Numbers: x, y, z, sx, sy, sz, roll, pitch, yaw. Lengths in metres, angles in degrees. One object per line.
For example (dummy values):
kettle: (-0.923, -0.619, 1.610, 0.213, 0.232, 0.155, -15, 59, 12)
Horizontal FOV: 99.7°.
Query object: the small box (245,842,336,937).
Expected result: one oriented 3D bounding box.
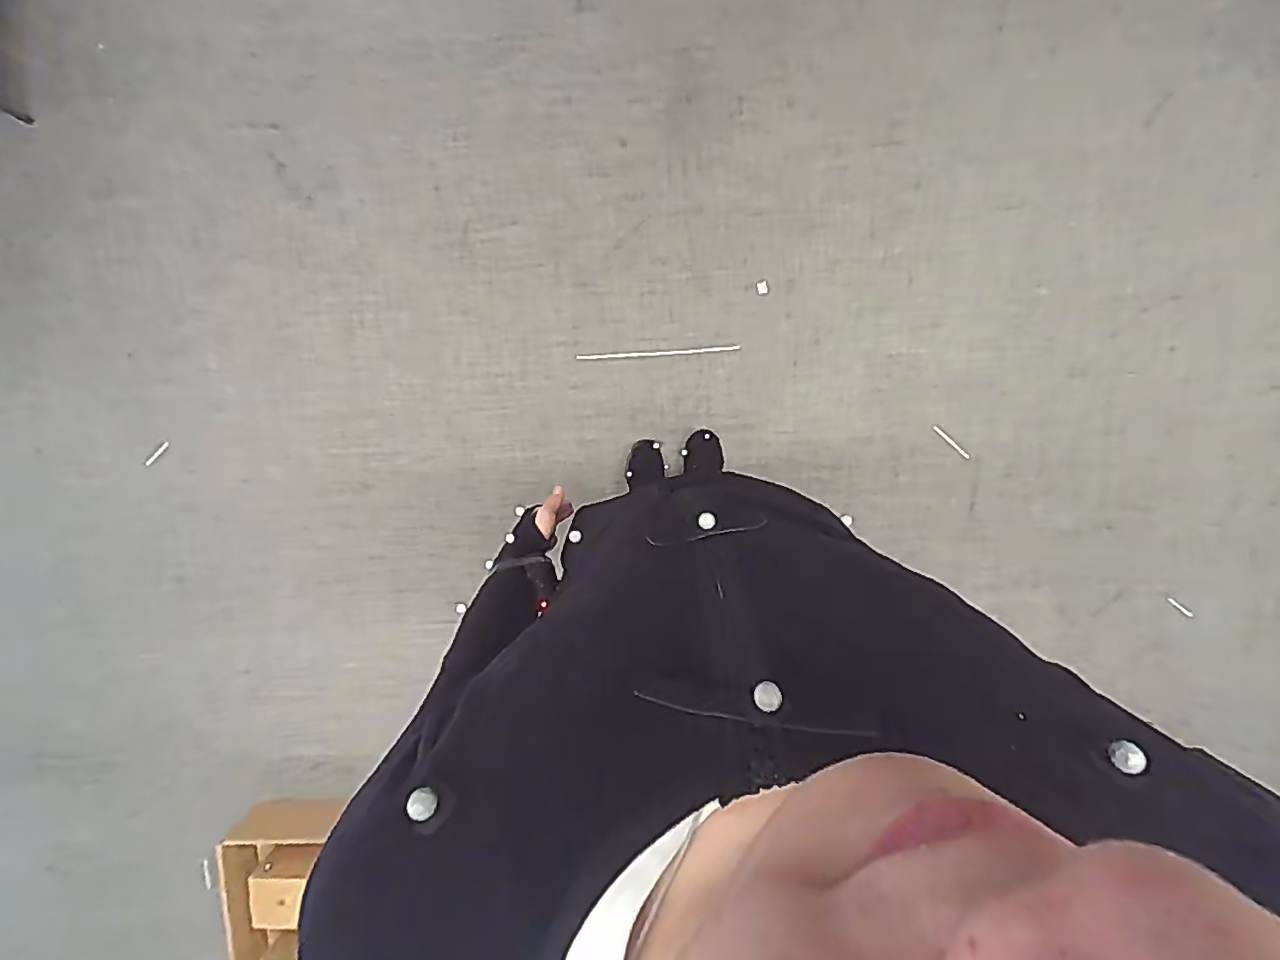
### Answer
small box: (-1.053, 1.241, 1.648, 0.179, 0.176, 0.168, 0, 96, 1)
